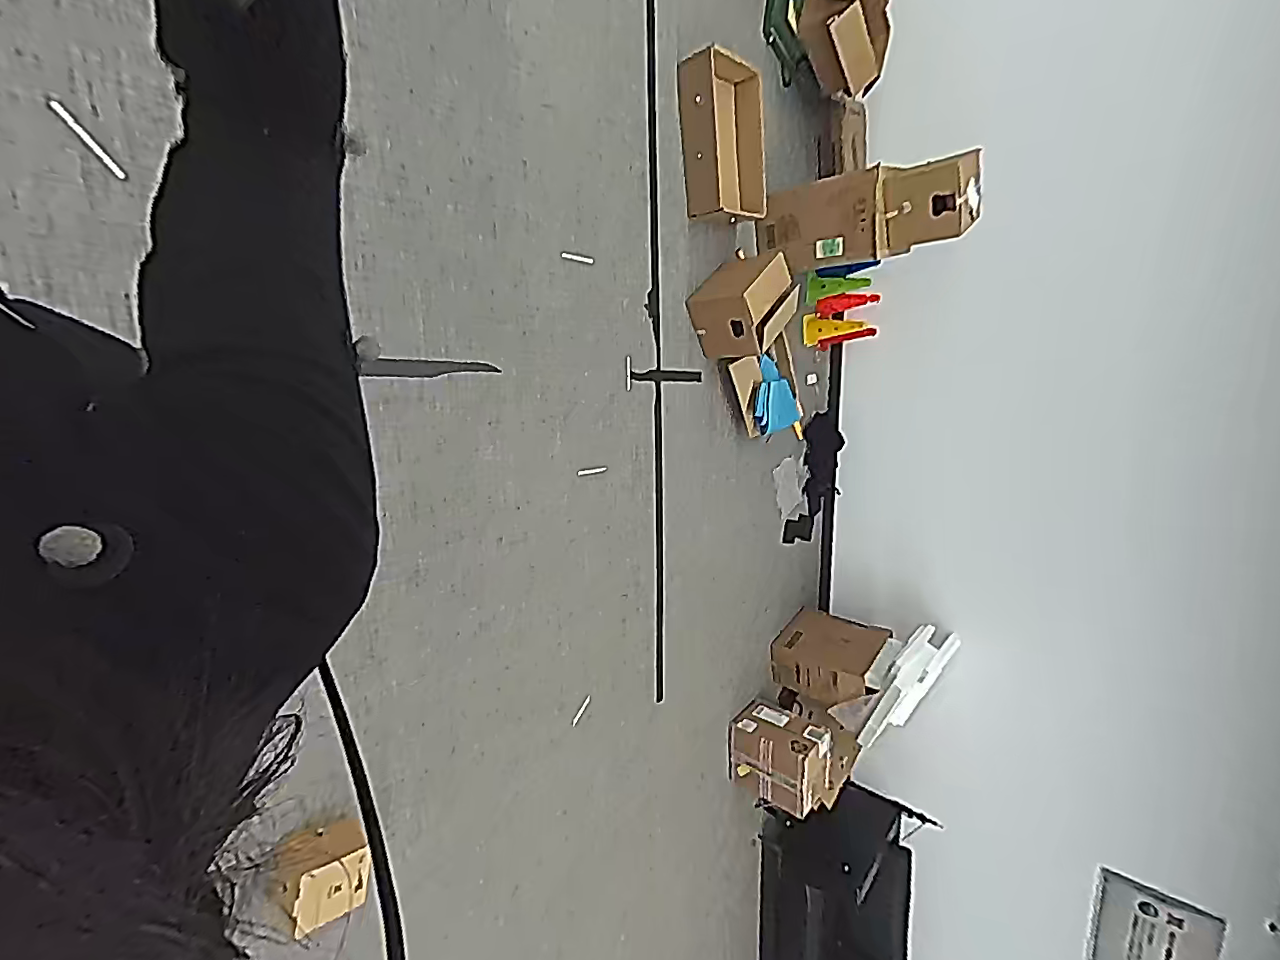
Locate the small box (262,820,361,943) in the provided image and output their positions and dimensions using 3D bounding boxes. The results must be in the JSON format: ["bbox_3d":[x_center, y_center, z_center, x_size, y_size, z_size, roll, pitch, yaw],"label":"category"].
[{"bbox_3d":[-0.873,1.052,1.434,0.179,0.176,0.168,8,91,-50],"label":"small box"}]
